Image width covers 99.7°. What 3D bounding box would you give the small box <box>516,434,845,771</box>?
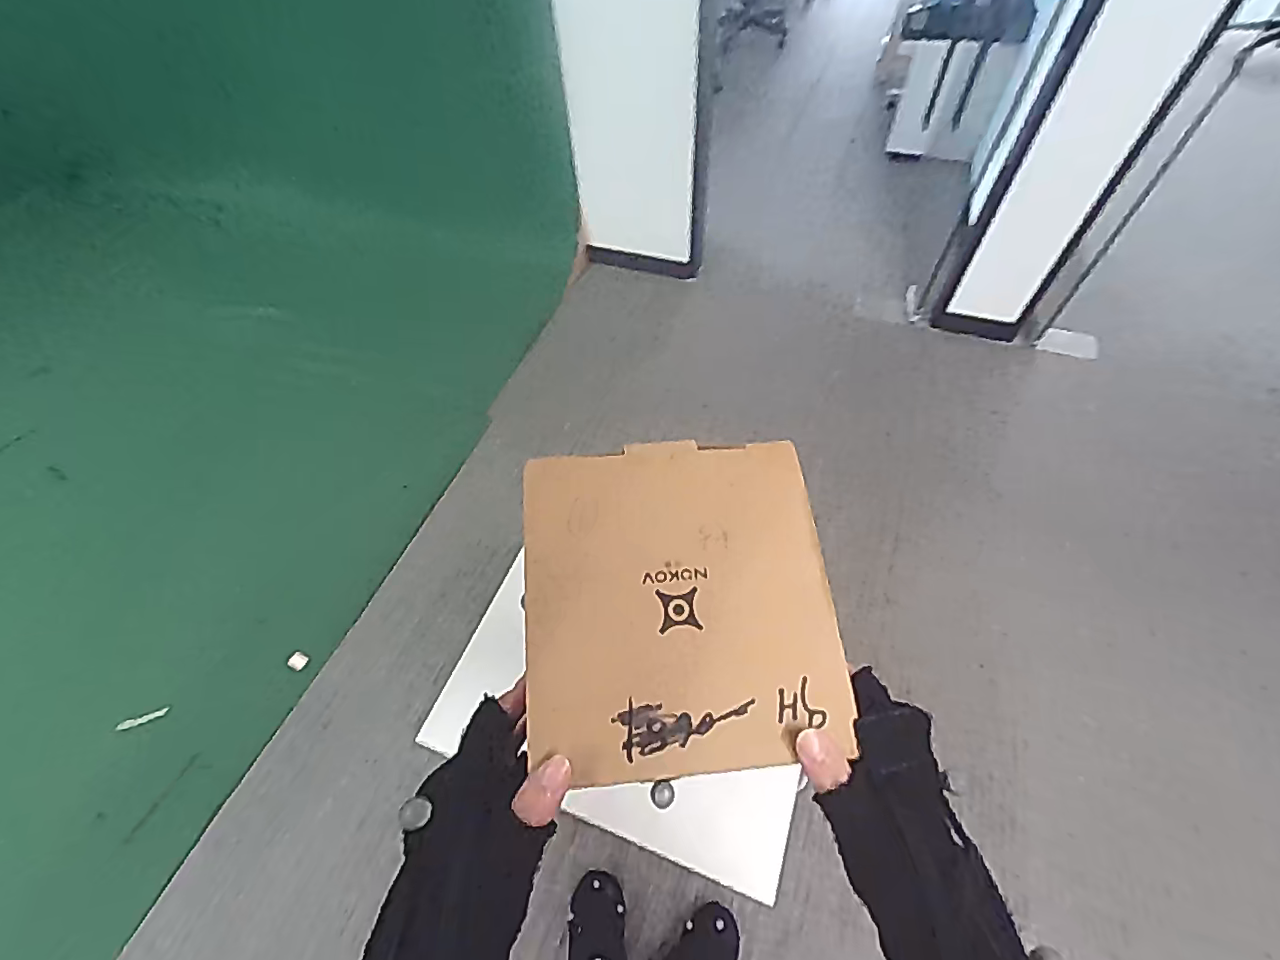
[{"bbox_3d":[0.011,0.088,0.370,0.168,0.176,0.179,-5,67,-4],"label":"small box"}]
